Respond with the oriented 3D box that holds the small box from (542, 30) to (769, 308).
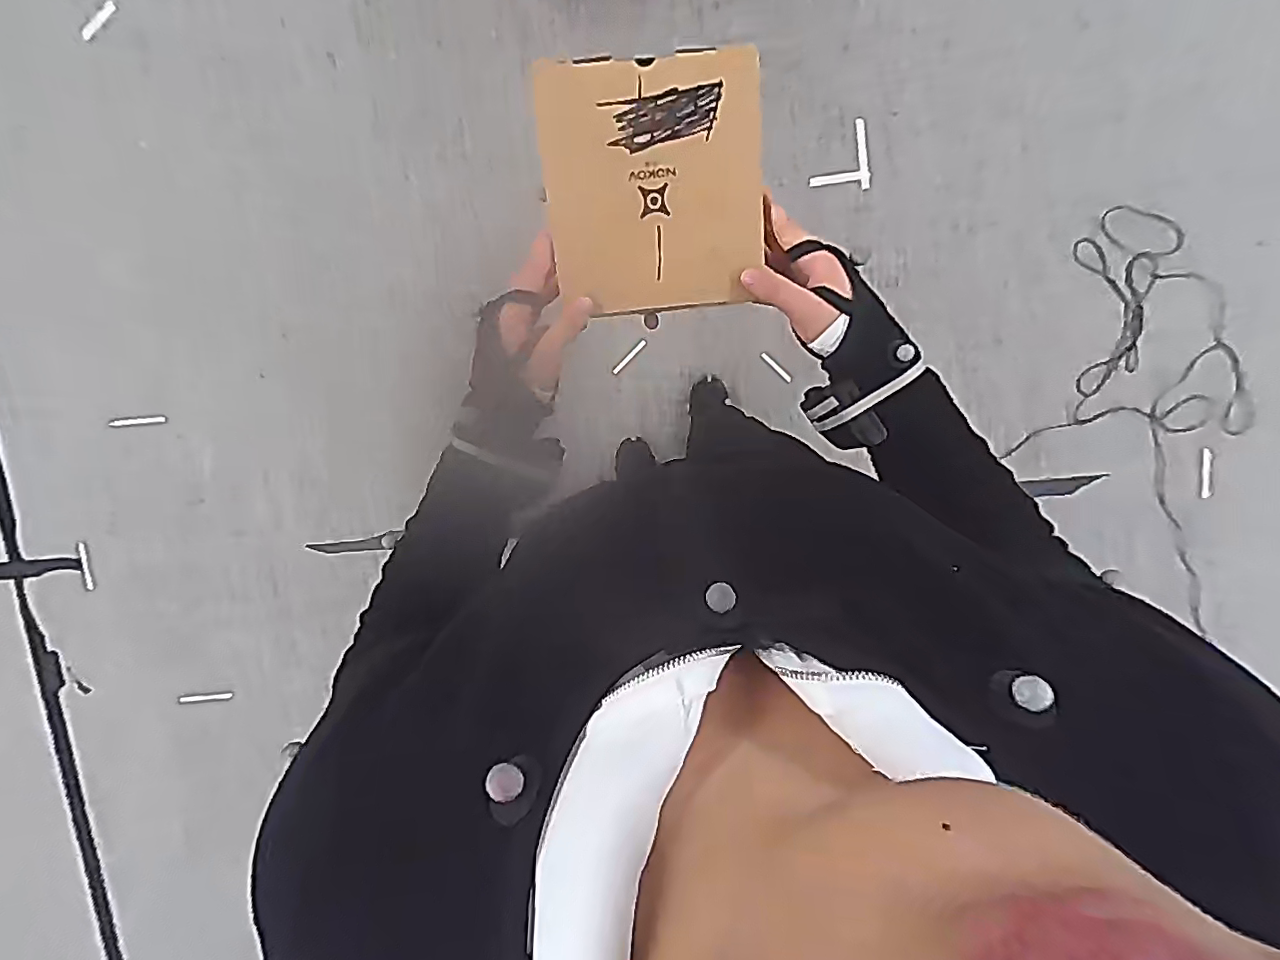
[{"bbox_3d":[0.013,-0.255,0.488,0.168,0.176,0.179,-6,107,1],"label":"small box"}]
